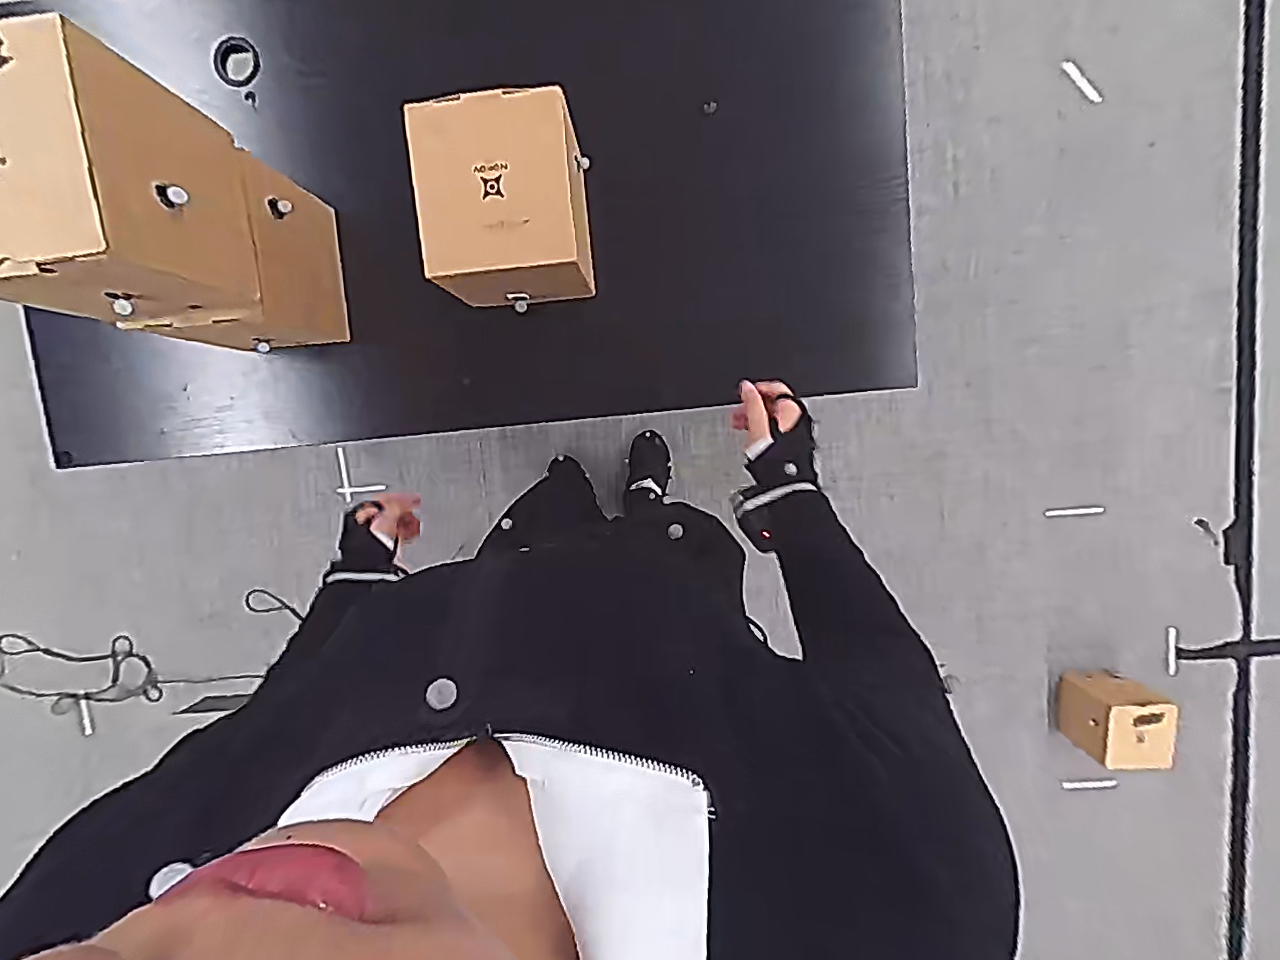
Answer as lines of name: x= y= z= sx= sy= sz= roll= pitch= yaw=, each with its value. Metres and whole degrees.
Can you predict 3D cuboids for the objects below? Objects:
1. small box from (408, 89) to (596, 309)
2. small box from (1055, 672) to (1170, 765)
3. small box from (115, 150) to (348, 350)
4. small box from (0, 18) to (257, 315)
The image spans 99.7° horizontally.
small box: x=-0.149 y=-0.315 z=0.641 sx=0.168 sy=0.176 sz=0.179 roll=-6 pitch=97 yaw=3
small box: x=1.258 y=0.631 z=1.451 sx=0.168 sy=0.176 sz=0.179 roll=-2 pitch=97 yaw=2
small box: x=-0.482 y=-0.261 z=0.651 sx=0.168 sy=0.176 sz=0.179 roll=-4 pitch=96 yaw=2
small box: x=-0.488 y=-0.253 z=0.487 sx=0.168 sy=0.176 sz=0.179 roll=-7 pitch=96 yaw=2
